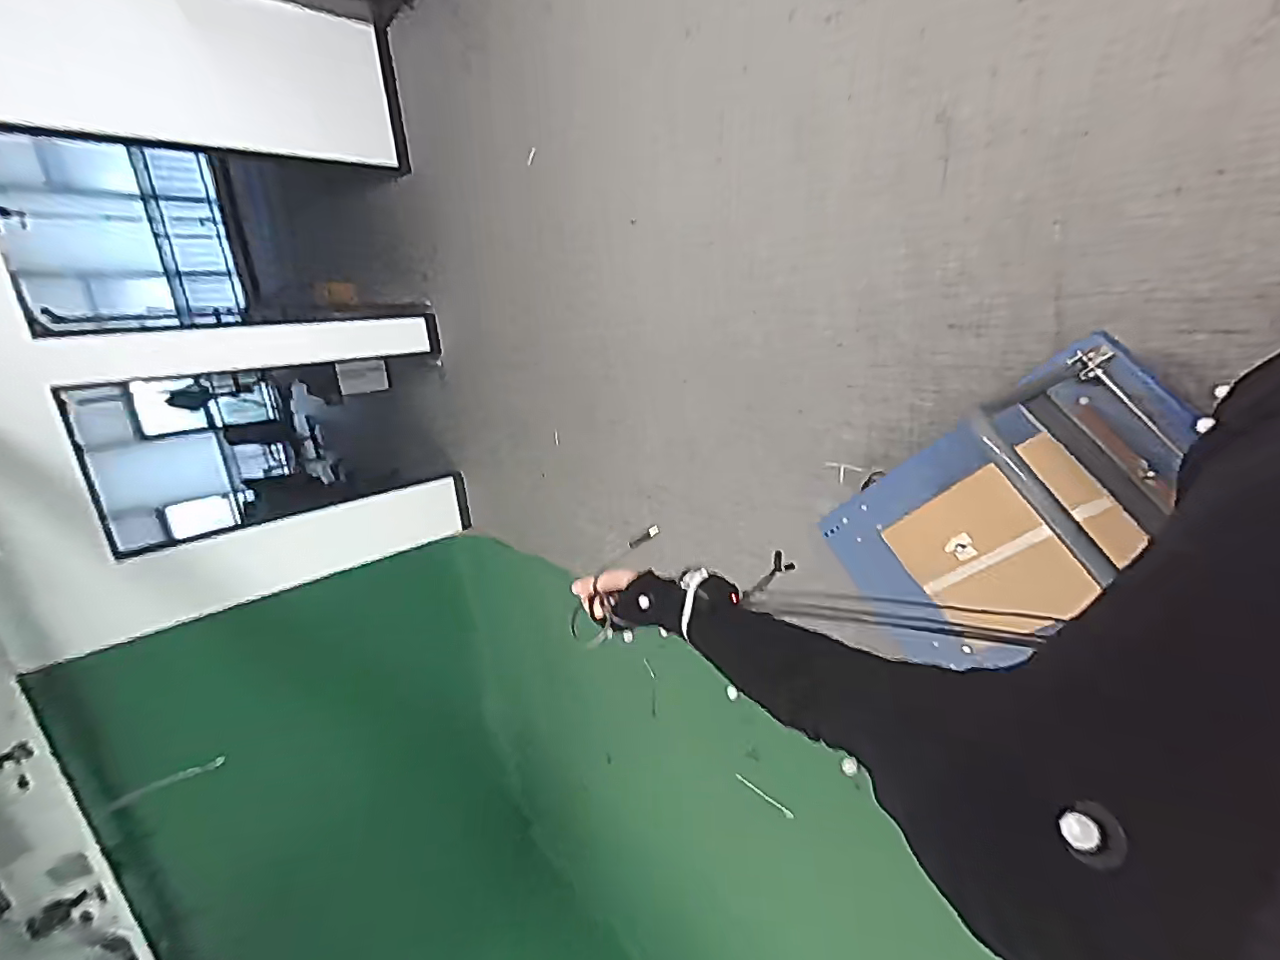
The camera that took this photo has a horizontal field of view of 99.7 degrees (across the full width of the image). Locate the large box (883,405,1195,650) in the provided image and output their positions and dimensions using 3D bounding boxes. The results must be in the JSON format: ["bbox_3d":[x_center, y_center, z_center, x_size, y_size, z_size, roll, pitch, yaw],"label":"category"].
[{"bbox_3d":[0.835,0.100,1.164,0.320,0.320,0.408,57,139,18],"label":"large box"}]
